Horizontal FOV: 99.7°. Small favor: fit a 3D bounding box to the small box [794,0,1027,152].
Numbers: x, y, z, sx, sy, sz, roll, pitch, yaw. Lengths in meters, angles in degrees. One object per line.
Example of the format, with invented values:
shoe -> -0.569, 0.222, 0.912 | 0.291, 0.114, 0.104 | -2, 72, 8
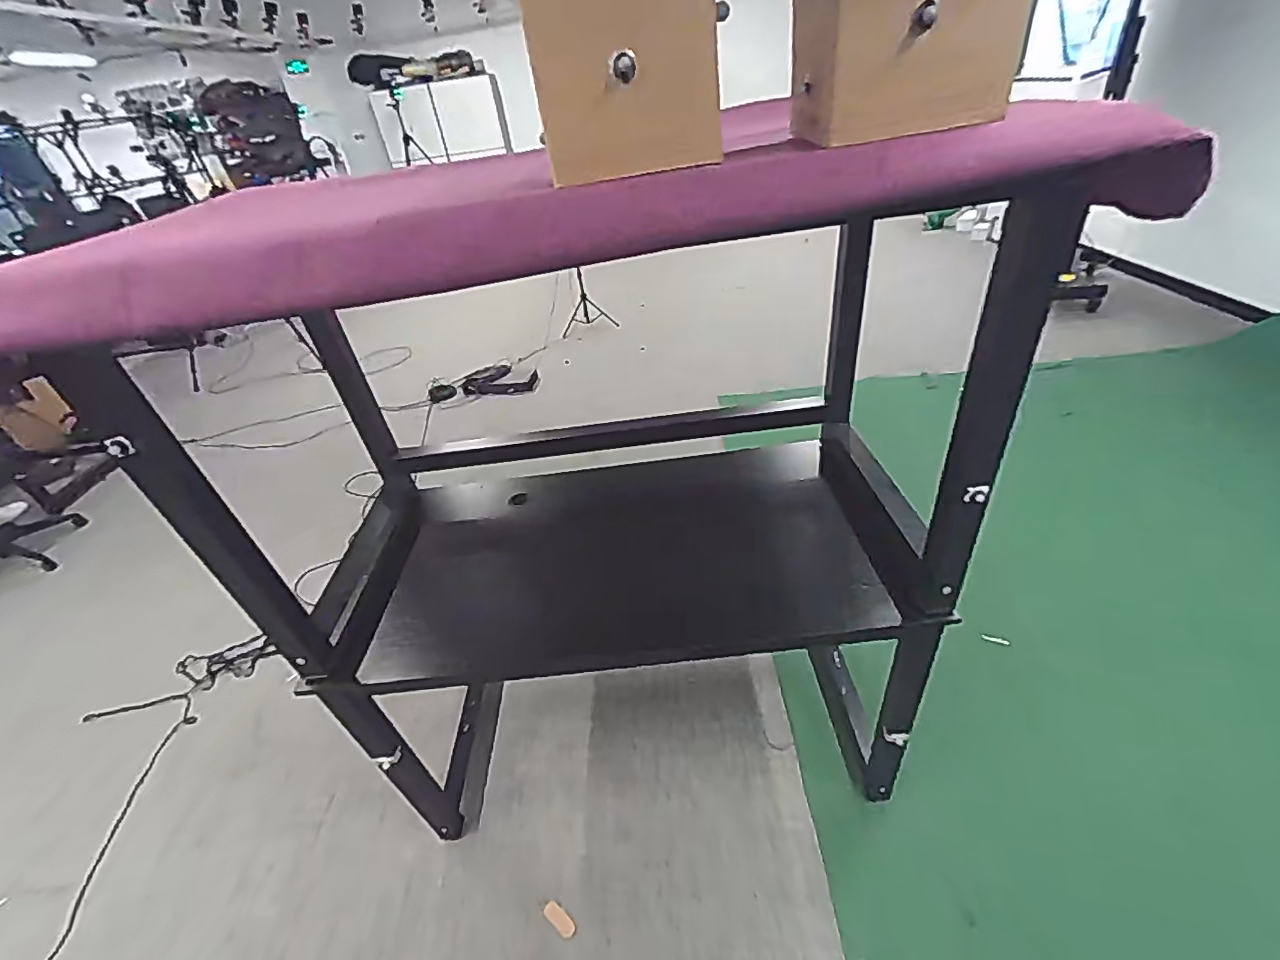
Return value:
small box -> 0.264, -0.454, 0.554 | 0.179, 0.176, 0.168 | -8, 36, 5
